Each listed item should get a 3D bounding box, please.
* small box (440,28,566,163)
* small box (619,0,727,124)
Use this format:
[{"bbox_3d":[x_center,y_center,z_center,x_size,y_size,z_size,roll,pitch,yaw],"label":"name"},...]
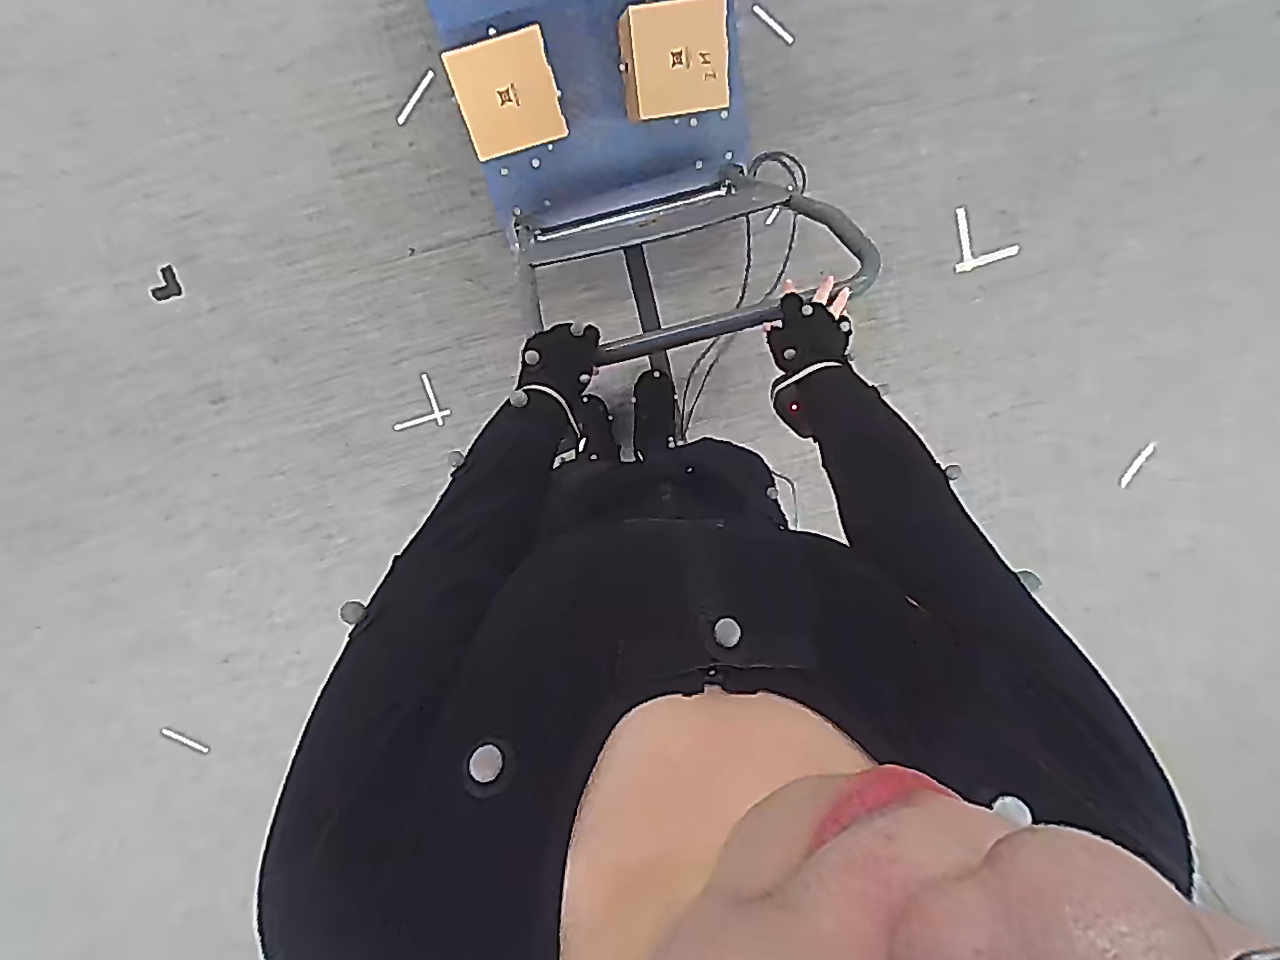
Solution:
[{"bbox_3d":[-0.250,-0.715,1.023,0.179,0.176,0.168,-18,124,-1],"label":"small box"},{"bbox_3d":[0.059,-0.792,1.035,0.179,0.176,0.168,-11,123,-4],"label":"small box"}]
